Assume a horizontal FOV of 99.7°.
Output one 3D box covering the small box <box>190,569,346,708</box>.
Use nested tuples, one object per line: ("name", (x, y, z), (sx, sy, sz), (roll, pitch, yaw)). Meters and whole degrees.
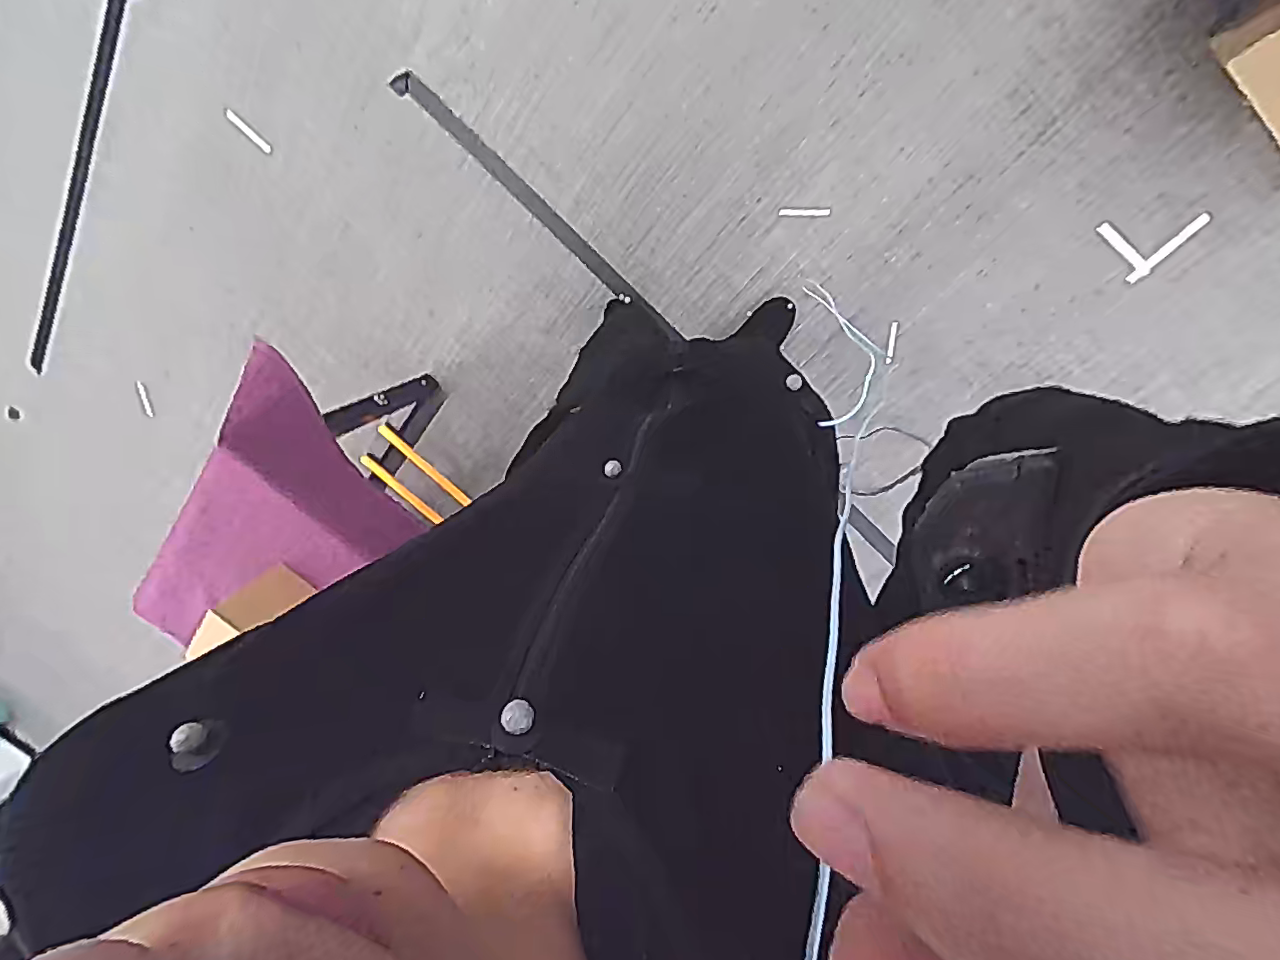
("small box", (-0.744, 0.314, 1.098), (0.179, 0.176, 0.168), (42, 115, -6))
